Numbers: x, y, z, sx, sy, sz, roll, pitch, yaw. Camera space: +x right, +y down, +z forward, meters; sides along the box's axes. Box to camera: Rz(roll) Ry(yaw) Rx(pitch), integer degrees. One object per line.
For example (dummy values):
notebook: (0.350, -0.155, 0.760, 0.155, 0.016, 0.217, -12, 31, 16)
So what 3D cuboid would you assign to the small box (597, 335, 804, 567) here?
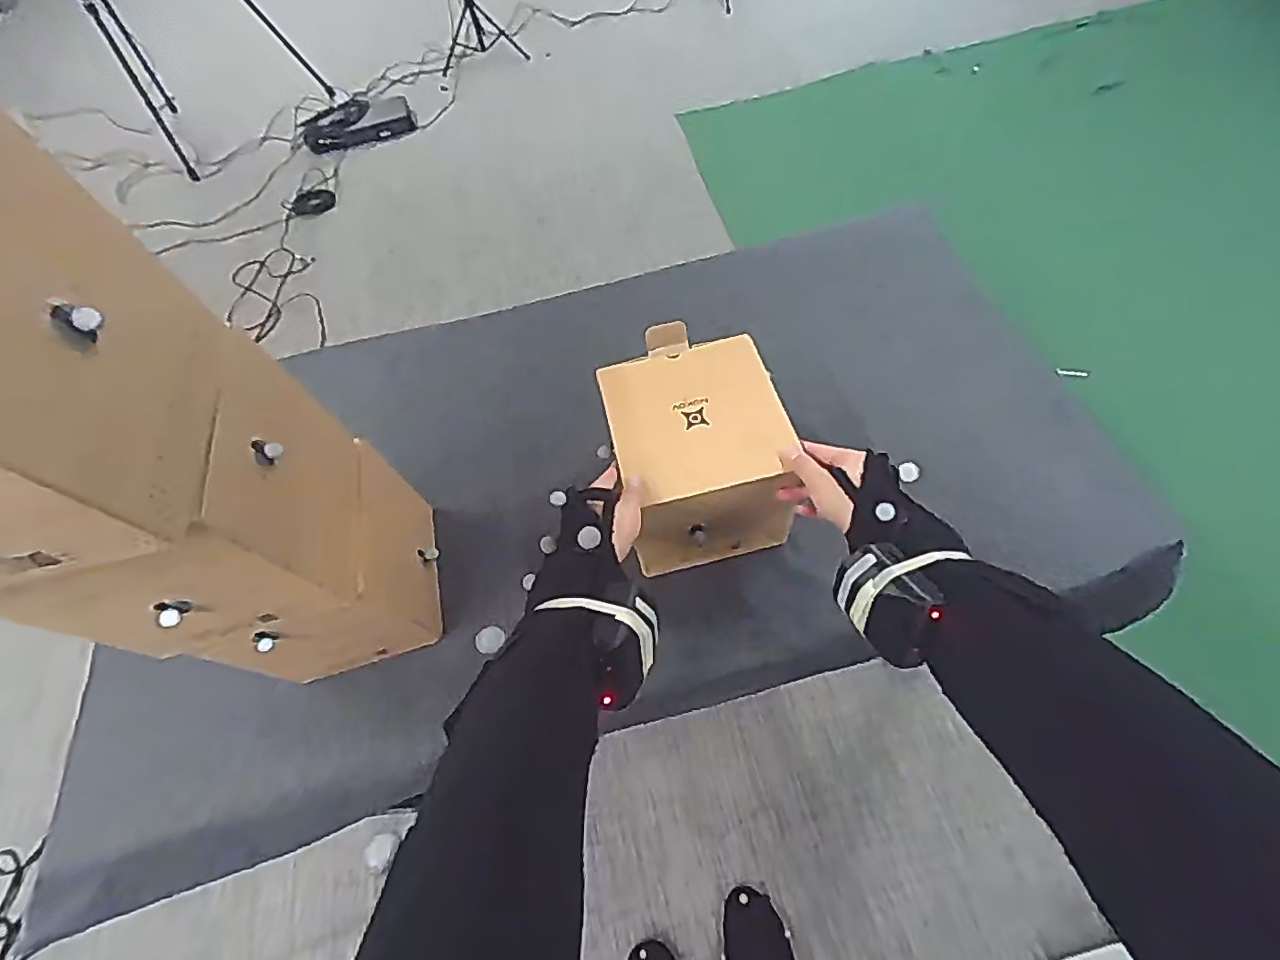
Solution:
small box: (0.059, -0.020, 0.580, 0.168, 0.176, 0.179, -13, 57, -2)

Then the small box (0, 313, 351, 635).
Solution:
small box: (-0.349, 0.008, 0.420, 0.168, 0.176, 0.179, -15, 60, -3)

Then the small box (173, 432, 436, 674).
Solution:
small box: (-0.330, 0.082, 0.567, 0.168, 0.176, 0.179, -16, 60, -3)
